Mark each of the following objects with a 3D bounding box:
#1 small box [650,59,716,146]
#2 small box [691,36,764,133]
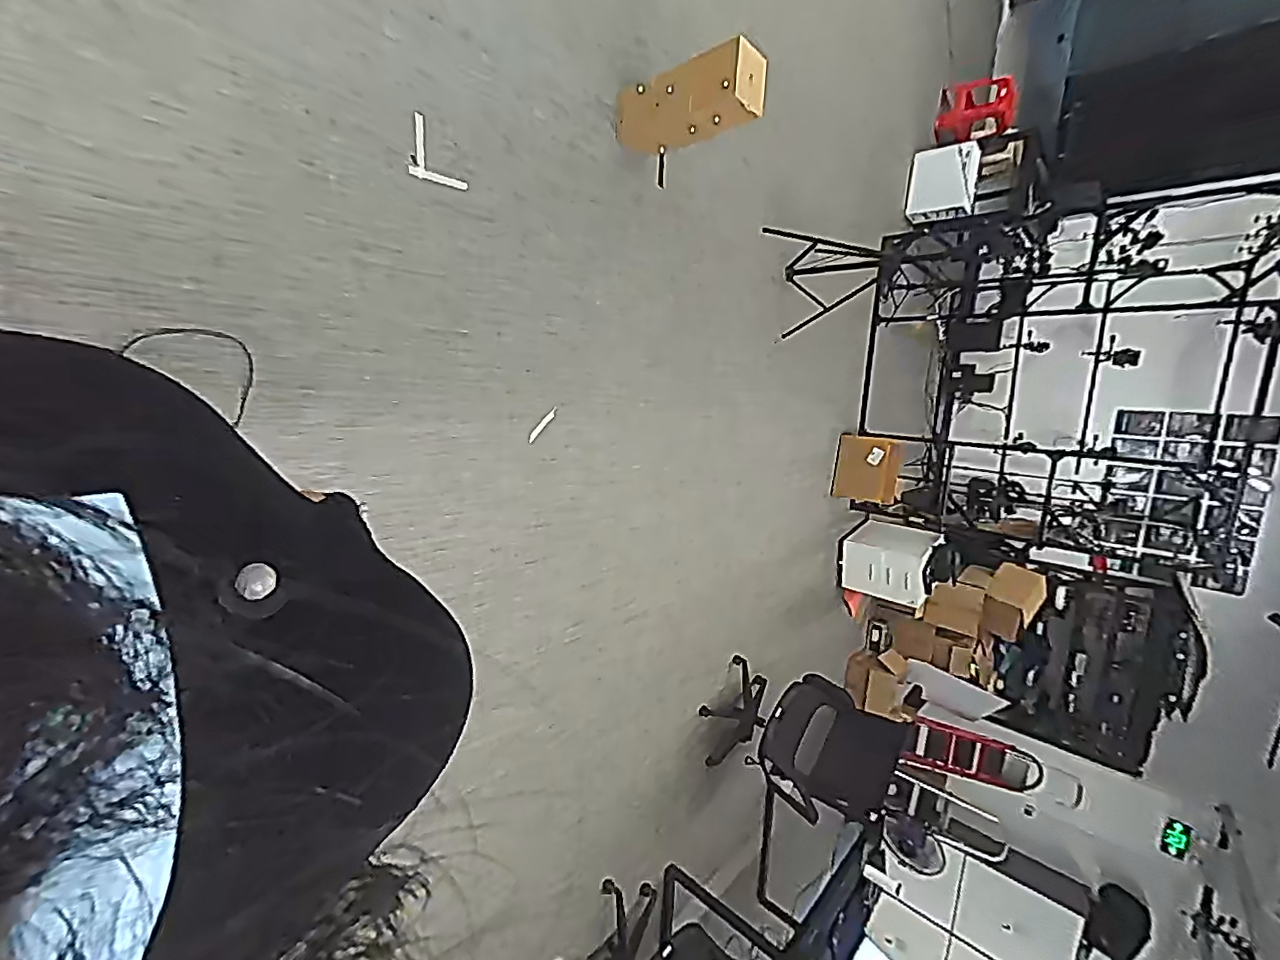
[{"bbox_3d":[0.154,-1.275,1.845,0.179,0.176,0.168,0,99,-50],"label":"small box"},{"bbox_3d":[0.278,-1.262,1.740,0.168,0.176,0.179,-6,103,-48],"label":"small box"}]
